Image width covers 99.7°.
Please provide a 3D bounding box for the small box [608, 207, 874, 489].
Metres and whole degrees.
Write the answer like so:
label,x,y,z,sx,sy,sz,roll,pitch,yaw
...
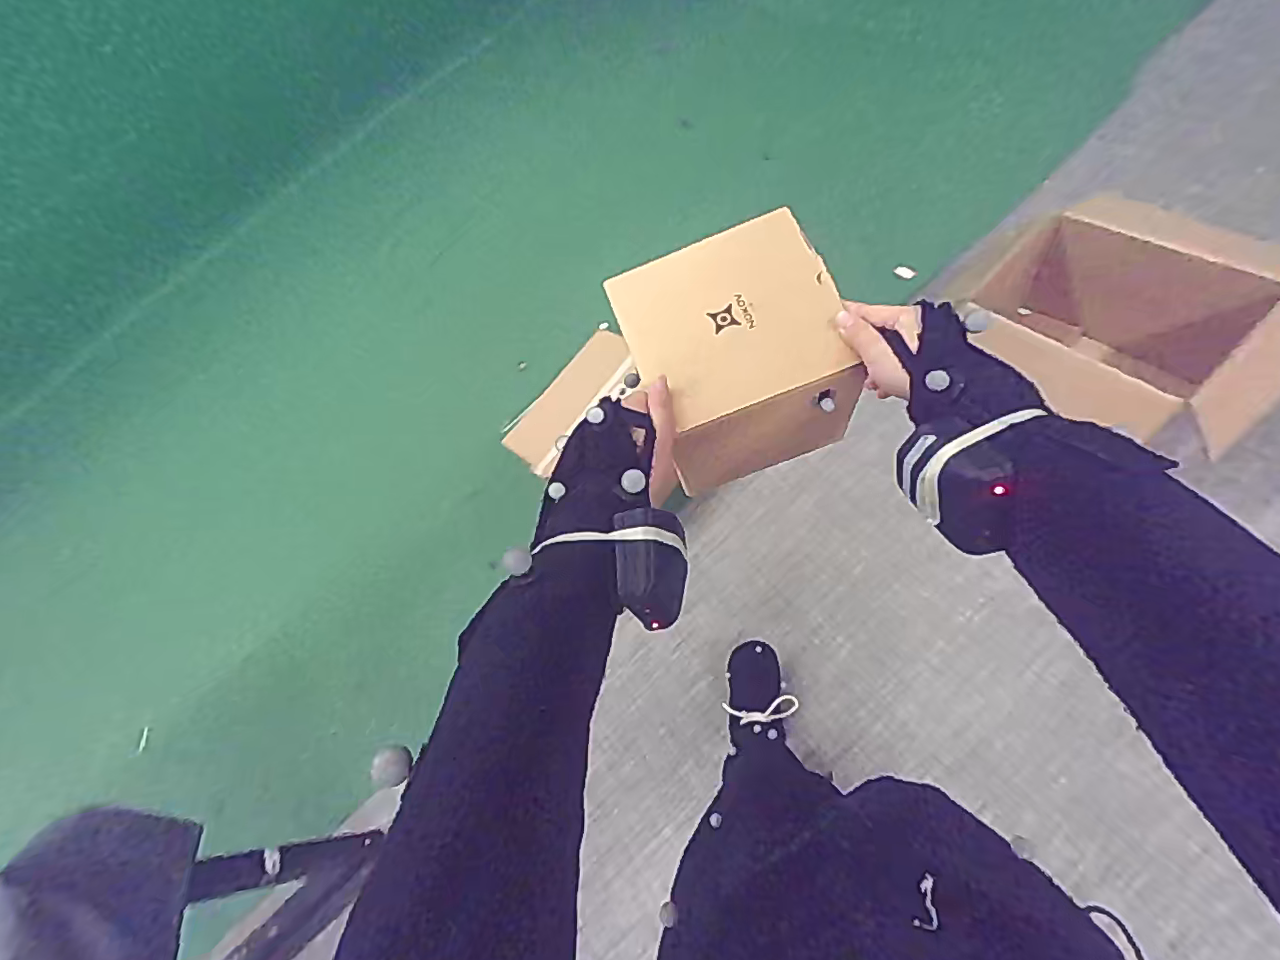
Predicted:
label,x,y,z,sx,sy,sz,roll,pitch,yaw
small box,0.089,-0.109,0.514,0.179,0.176,0.168,-20,69,3
